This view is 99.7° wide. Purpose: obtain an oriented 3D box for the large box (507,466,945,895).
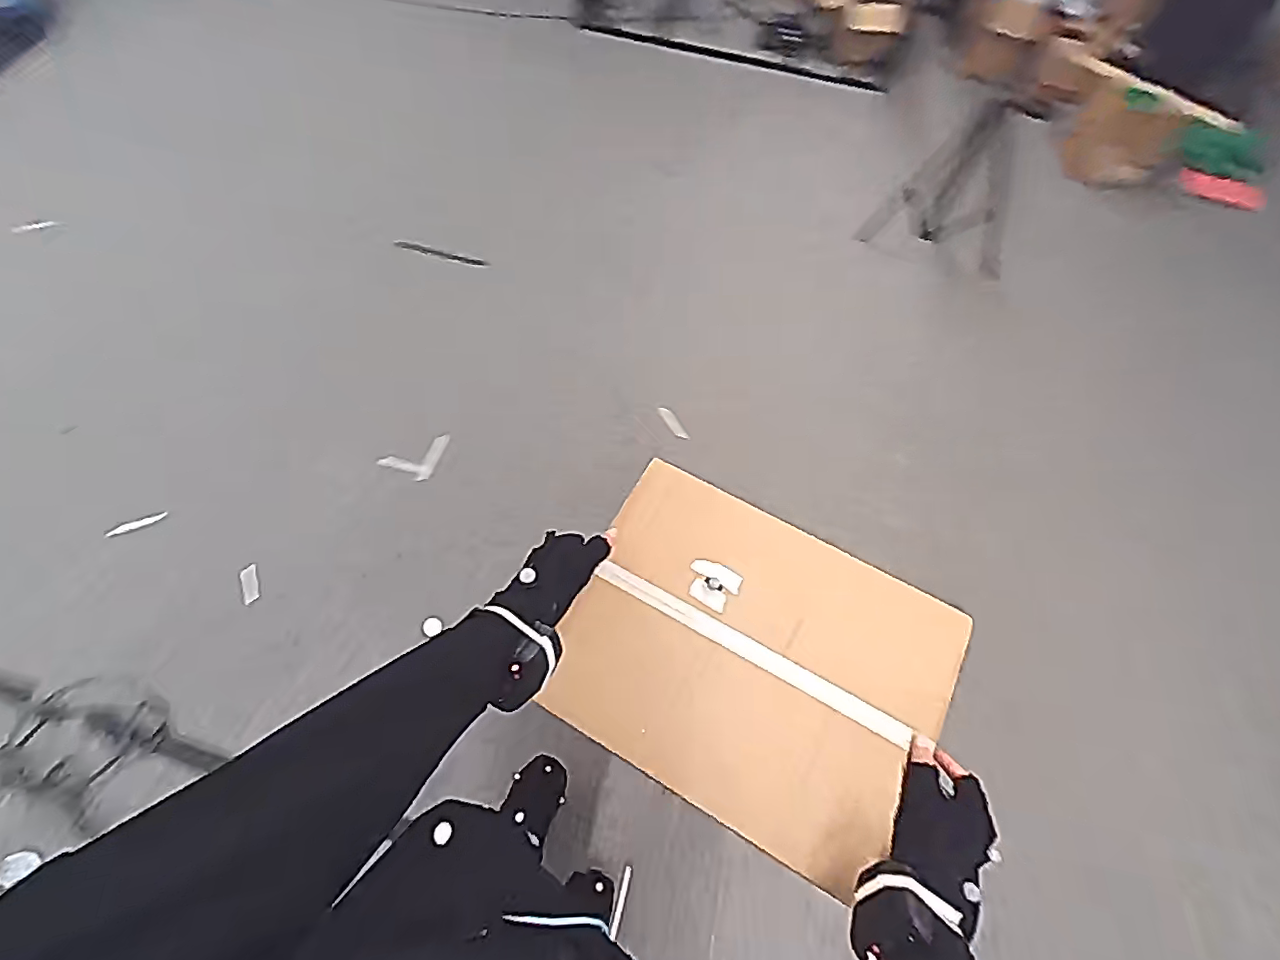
[{"bbox_3d":[0.105,0.246,0.728,0.408,0.320,0.320,26,67,13],"label":"large box"}]
